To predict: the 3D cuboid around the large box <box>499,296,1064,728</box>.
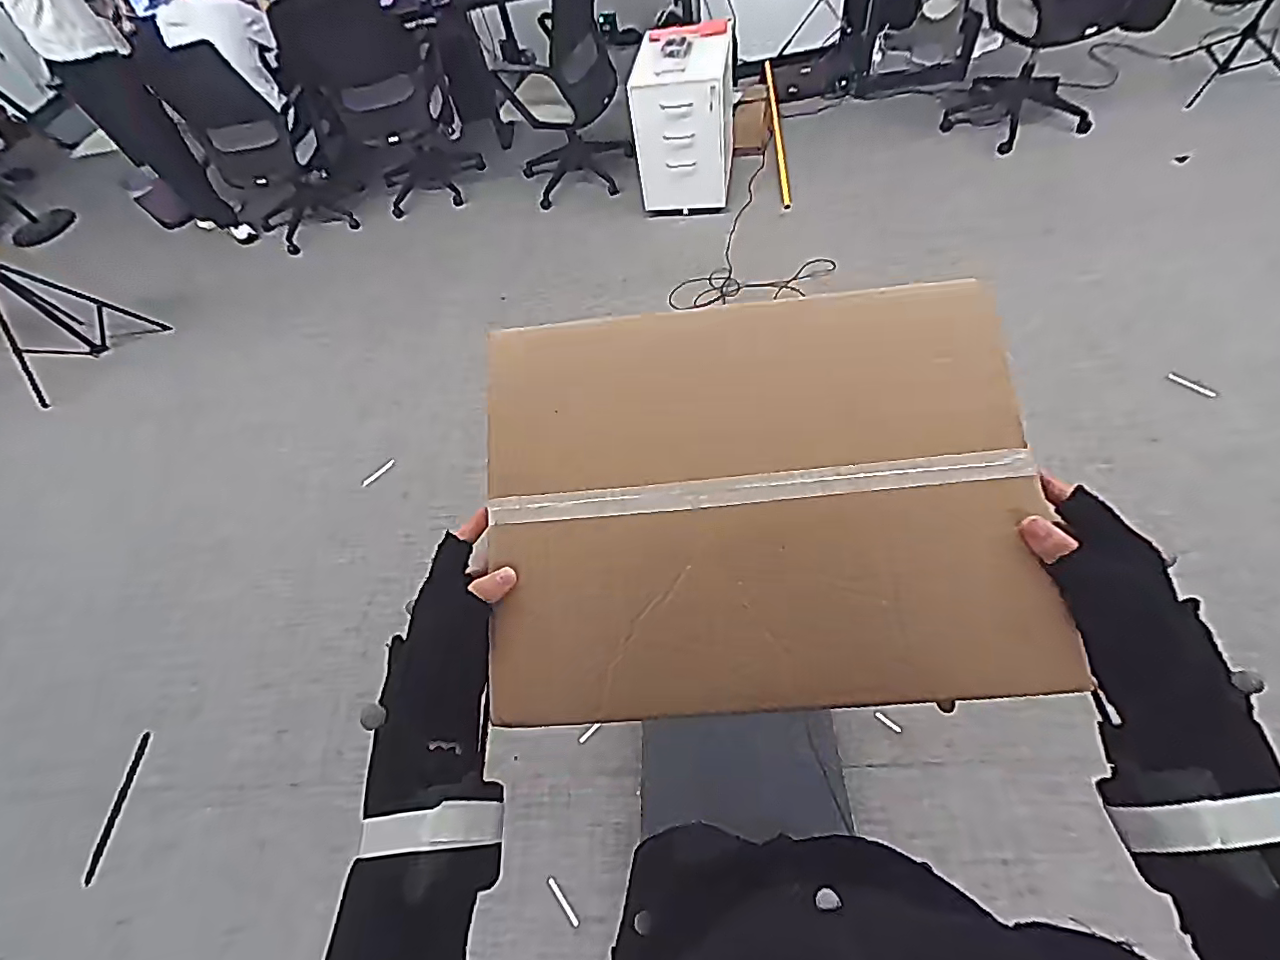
[{"bbox_3d":[0.101,0.051,0.566,0.408,0.320,0.320,-6,74,4],"label":"large box"}]
